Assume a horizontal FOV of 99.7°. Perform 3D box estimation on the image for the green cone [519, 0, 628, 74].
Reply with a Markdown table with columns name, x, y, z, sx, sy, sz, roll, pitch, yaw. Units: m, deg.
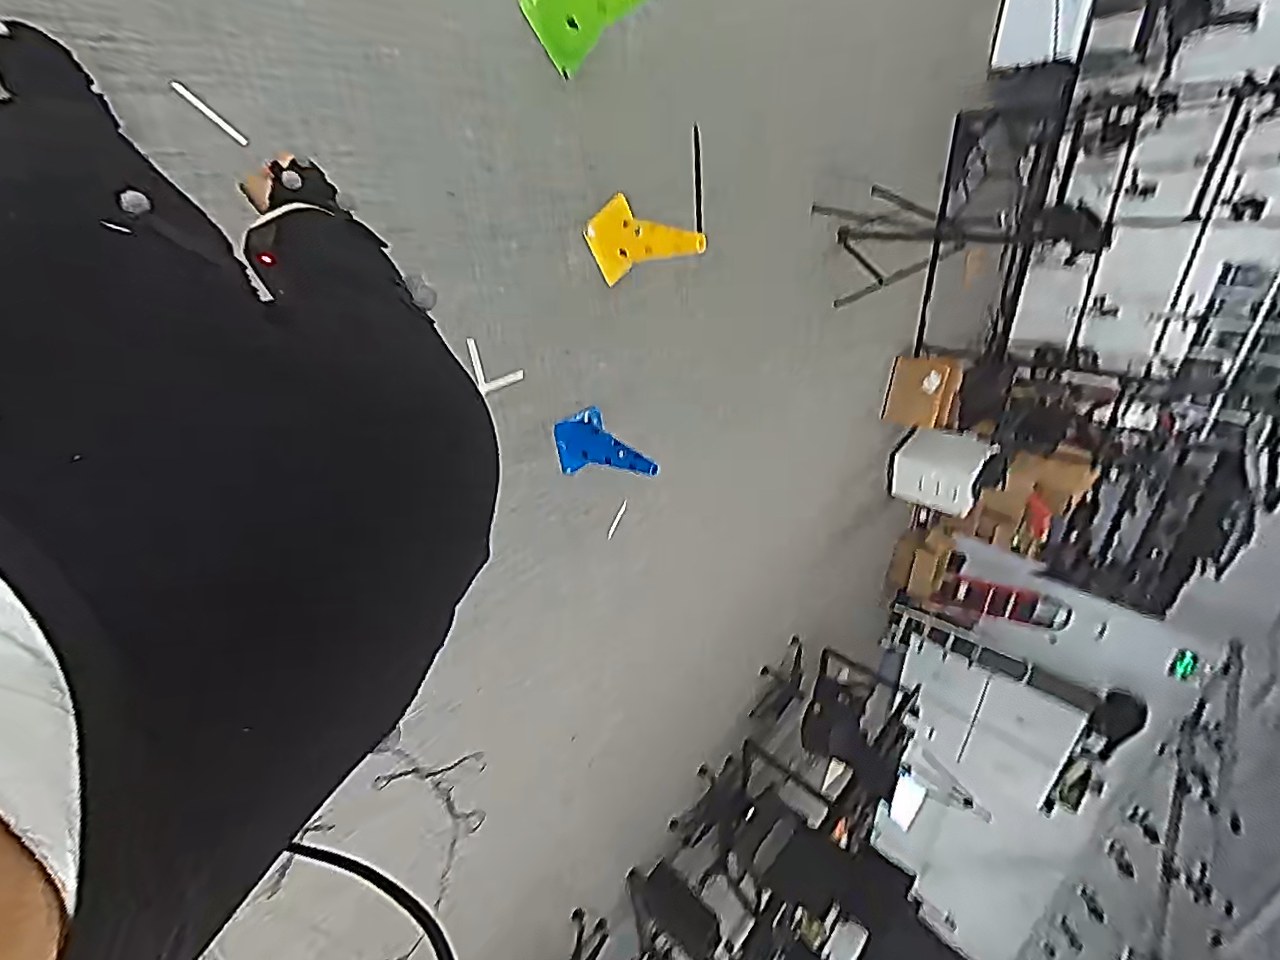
| name | x | y | z | sx | sy | sz | roll | pitch | yaw |
| --- | --- | --- | --- | --- | --- | --- | --- | --- | --- |
| green cone | -0.078 | -1.143 | 1.266 | 0.202 | 0.368 | 0.200 | 39 | 77 | -48 |
